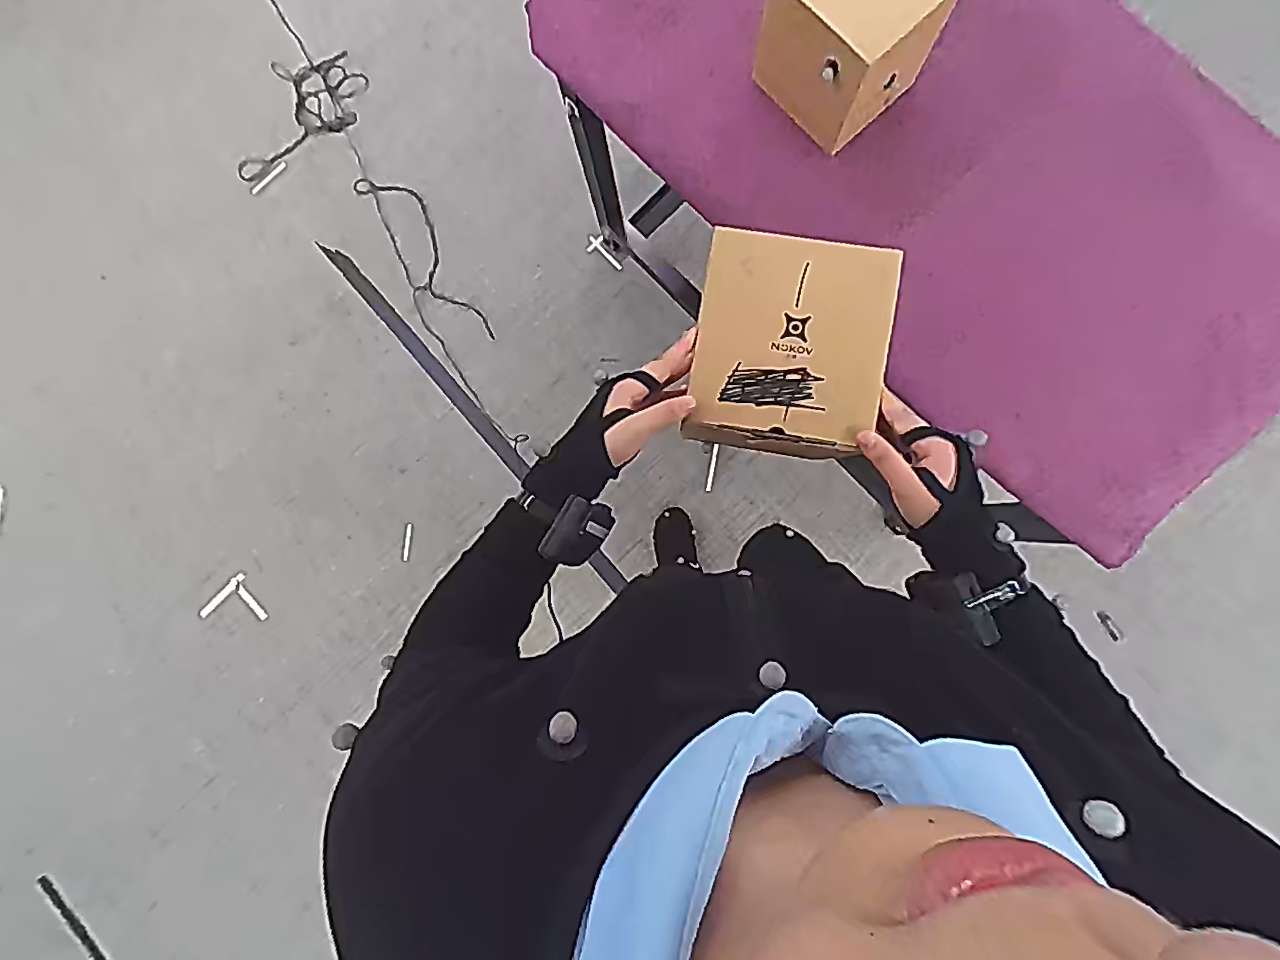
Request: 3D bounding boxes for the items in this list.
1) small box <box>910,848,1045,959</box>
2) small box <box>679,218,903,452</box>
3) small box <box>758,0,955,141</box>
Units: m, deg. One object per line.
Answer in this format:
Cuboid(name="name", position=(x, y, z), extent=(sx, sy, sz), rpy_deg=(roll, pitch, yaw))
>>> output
Cuboid(name="small box", position=(0.778, 1.024, 1.266), extent=(0.168, 0.176, 0.179), rpy_deg=(-37, 85, 3))
Cuboid(name="small box", position=(0.135, -0.128, 0.543), extent=(0.168, 0.176, 0.179), rpy_deg=(10, 89, 3))
Cuboid(name="small box", position=(0.283, -0.604, 0.729), extent=(0.168, 0.176, 0.179), rpy_deg=(-42, 84, 0))
